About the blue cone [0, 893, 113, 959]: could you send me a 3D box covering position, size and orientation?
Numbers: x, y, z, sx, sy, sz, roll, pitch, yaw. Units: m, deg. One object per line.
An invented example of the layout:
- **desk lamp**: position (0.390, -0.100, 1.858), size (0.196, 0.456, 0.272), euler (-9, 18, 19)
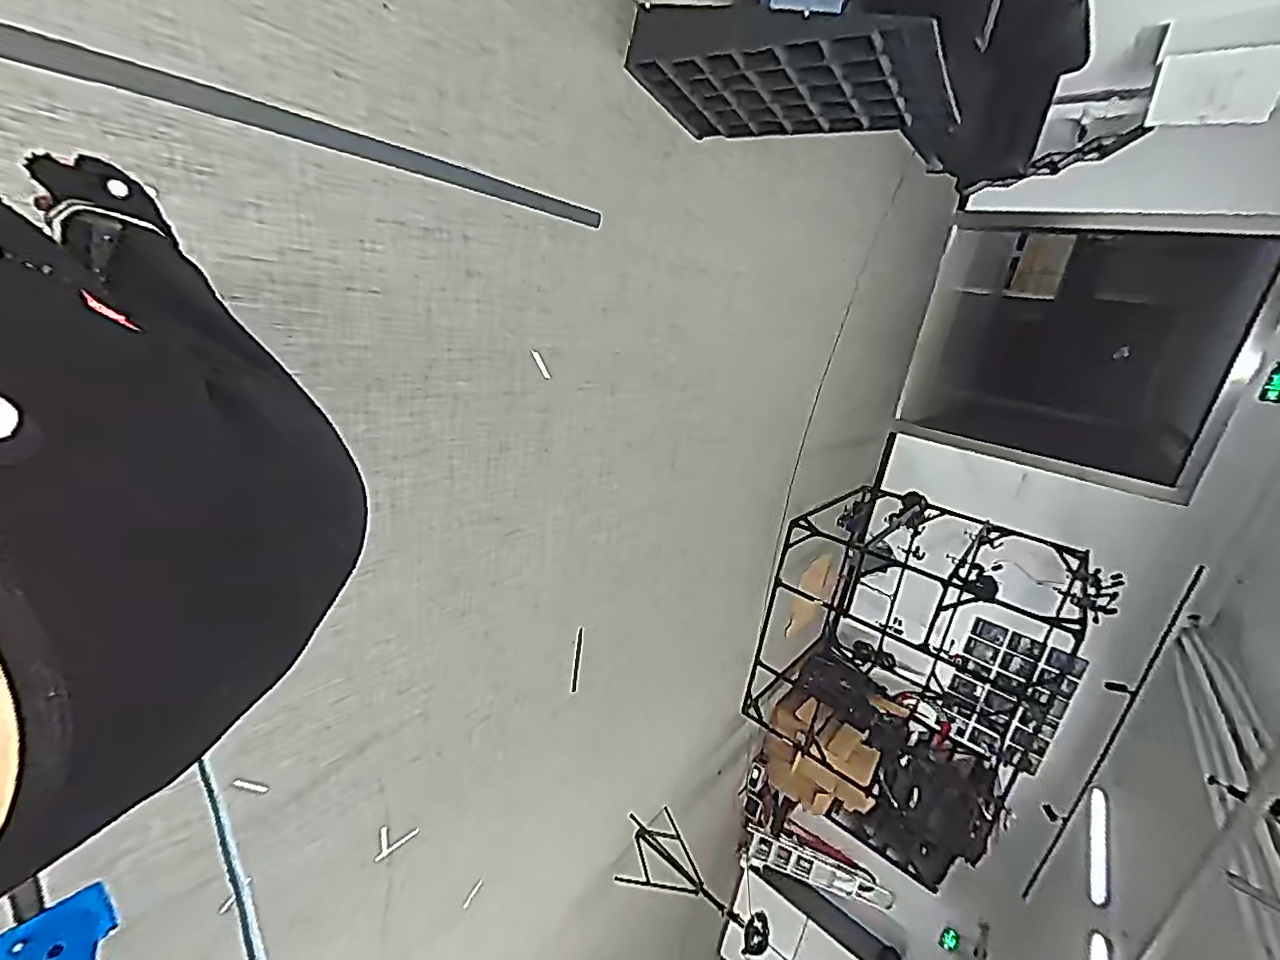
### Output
- **blue cone**: position (-1.304, 1.181, 1.228), size (0.192, 0.380, 0.193), euler (-19, 123, -49)
